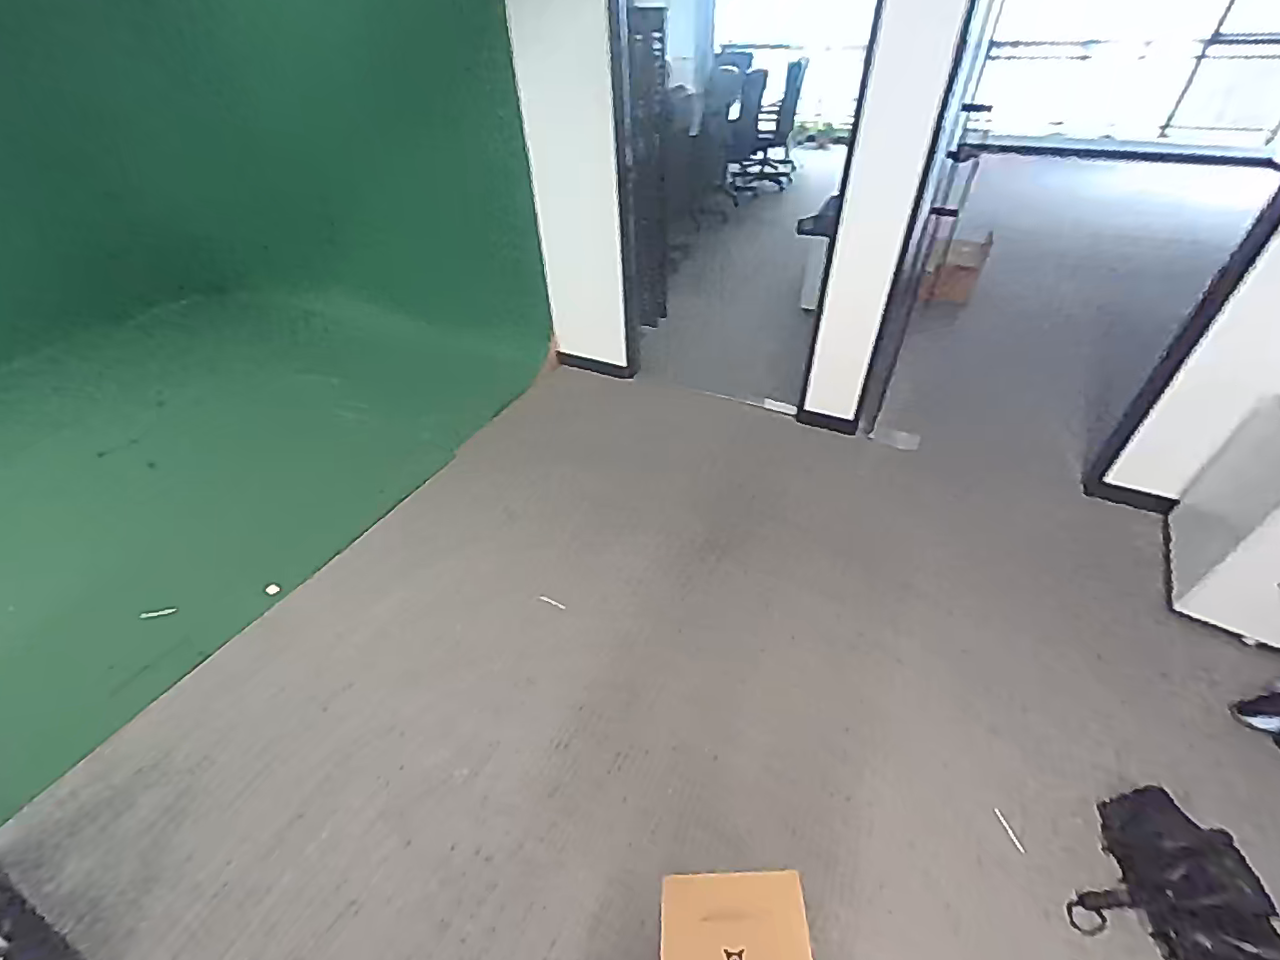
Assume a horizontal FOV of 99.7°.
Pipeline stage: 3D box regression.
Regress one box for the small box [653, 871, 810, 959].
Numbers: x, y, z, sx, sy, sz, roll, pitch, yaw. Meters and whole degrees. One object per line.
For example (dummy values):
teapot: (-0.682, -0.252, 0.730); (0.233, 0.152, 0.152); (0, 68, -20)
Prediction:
small box: (0.111, 0.574, 0.601); (0.168, 0.176, 0.179); (-9, 31, 9)
